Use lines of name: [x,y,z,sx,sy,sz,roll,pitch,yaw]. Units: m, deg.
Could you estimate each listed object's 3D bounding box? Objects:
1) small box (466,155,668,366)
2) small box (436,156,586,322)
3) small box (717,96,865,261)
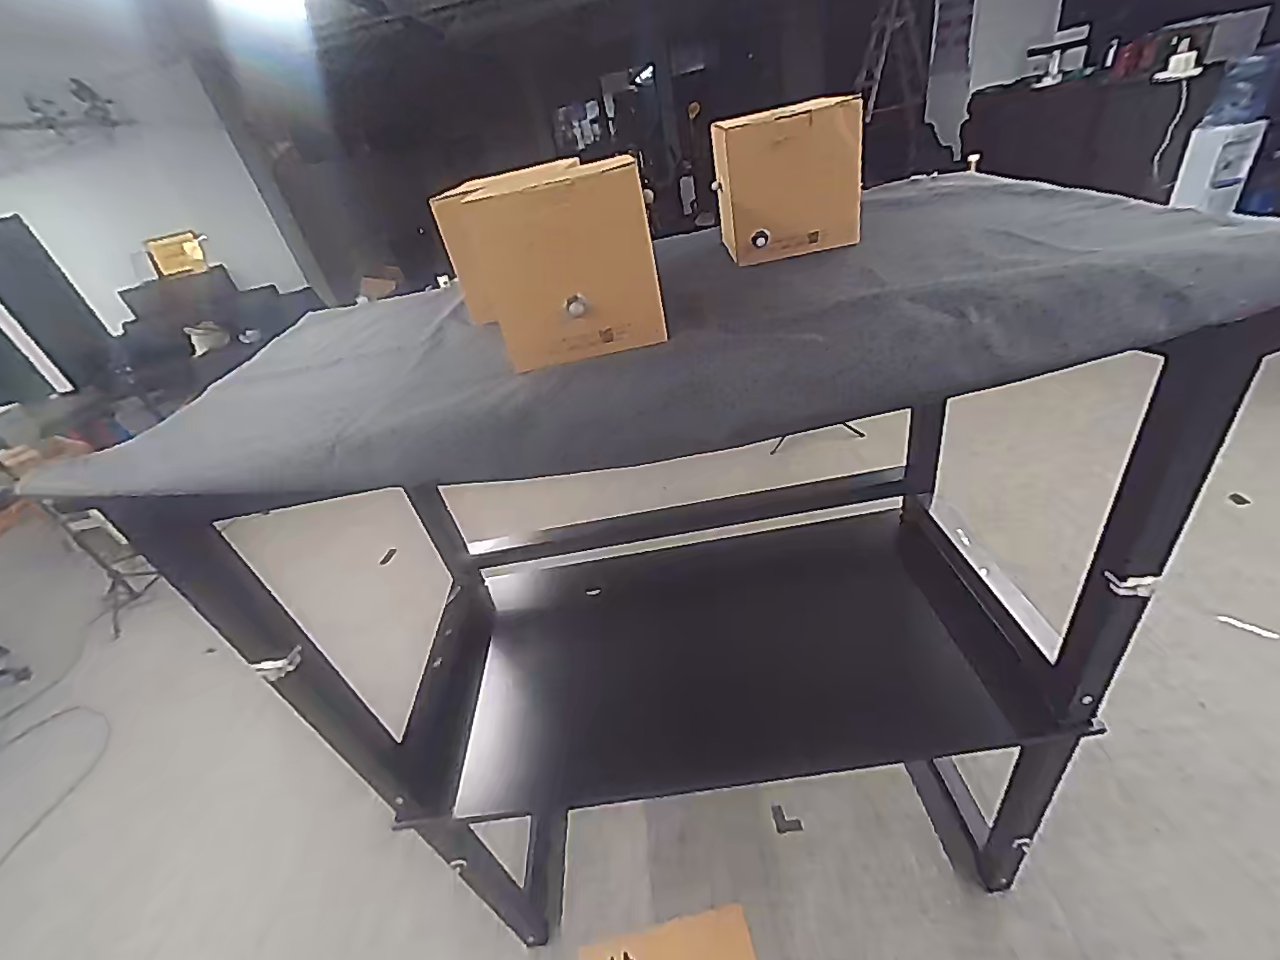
small box: [-0.067,-0.242,0.594,0.168,0.176,0.179,-11,33,3]
small box: [-0.153,-0.343,0.774,0.179,0.176,0.168,-8,35,9]
small box: [0.206,-0.418,0.759,0.168,0.176,0.179,-8,34,7]
